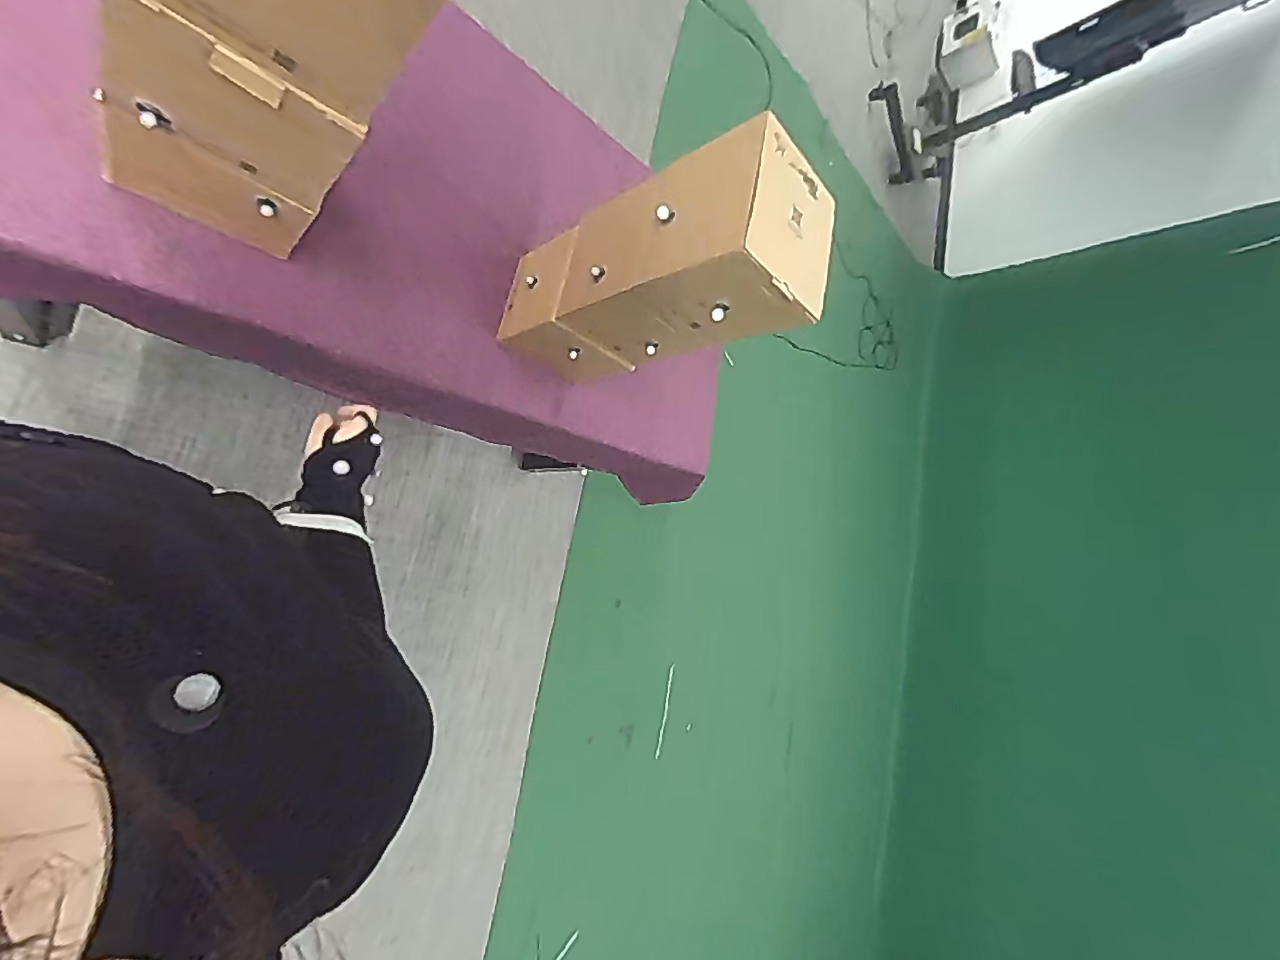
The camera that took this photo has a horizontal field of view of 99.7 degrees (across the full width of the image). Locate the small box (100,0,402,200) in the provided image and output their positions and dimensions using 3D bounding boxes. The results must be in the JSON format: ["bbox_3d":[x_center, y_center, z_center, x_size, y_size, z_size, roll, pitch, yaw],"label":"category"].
[{"bbox_3d":[-0.332,-0.388,0.473,0.168,0.176,0.179,17,76,-42],"label":"small box"}]

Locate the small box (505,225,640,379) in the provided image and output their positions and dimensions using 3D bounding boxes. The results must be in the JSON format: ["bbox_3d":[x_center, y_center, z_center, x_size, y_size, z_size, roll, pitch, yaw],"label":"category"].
[{"bbox_3d":[-0.101,-0.282,0.909,0.179,0.176,0.168,24,74,-40],"label":"small box"}]

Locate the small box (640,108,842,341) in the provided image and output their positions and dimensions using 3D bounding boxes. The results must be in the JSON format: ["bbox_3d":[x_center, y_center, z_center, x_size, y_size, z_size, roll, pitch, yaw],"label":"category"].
[{"bbox_3d":[0.122,-0.293,0.669,0.168,0.176,0.179,23,75,-42],"label":"small box"}]

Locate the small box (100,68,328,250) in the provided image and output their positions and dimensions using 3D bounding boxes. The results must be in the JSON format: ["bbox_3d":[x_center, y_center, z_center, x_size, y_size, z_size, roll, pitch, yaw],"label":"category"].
[{"bbox_3d":[-0.445,-0.383,0.593,0.179,0.176,0.168,19,77,-42],"label":"small box"}]

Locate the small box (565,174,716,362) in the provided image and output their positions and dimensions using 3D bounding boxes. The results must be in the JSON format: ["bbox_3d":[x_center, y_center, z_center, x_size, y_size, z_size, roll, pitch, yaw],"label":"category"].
[{"bbox_3d":[0.012,-0.291,0.792,0.168,0.176,0.179,24,73,-41],"label":"small box"}]
